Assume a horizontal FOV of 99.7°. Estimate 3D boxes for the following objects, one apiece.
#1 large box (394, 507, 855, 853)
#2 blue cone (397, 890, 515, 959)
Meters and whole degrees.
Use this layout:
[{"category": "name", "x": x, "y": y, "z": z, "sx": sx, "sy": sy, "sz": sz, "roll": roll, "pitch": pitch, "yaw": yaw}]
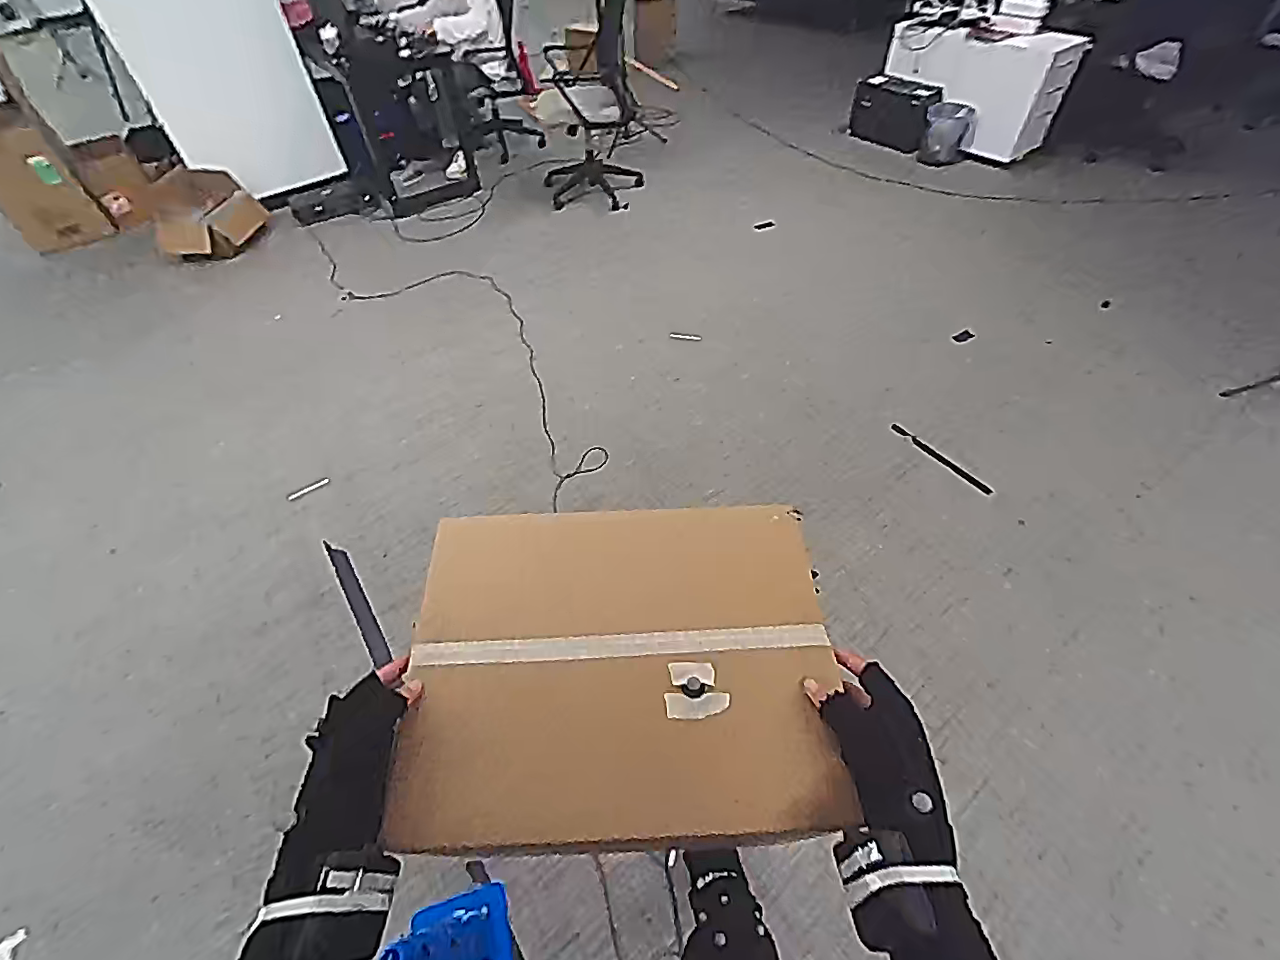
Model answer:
[{"category": "large box", "x": -0.020, "y": 0.252, "z": 0.664, "sx": 0.408, "sy": 0.320, "sz": 0.320, "roll": -2, "pitch": 54, "yaw": -1}, {"category": "blue cone", "x": -0.364, "y": 0.873, "z": 0.987, "sx": 0.193, "sy": 0.380, "sz": 0.192, "roll": -14, "pitch": 51, "yaw": -7}]
